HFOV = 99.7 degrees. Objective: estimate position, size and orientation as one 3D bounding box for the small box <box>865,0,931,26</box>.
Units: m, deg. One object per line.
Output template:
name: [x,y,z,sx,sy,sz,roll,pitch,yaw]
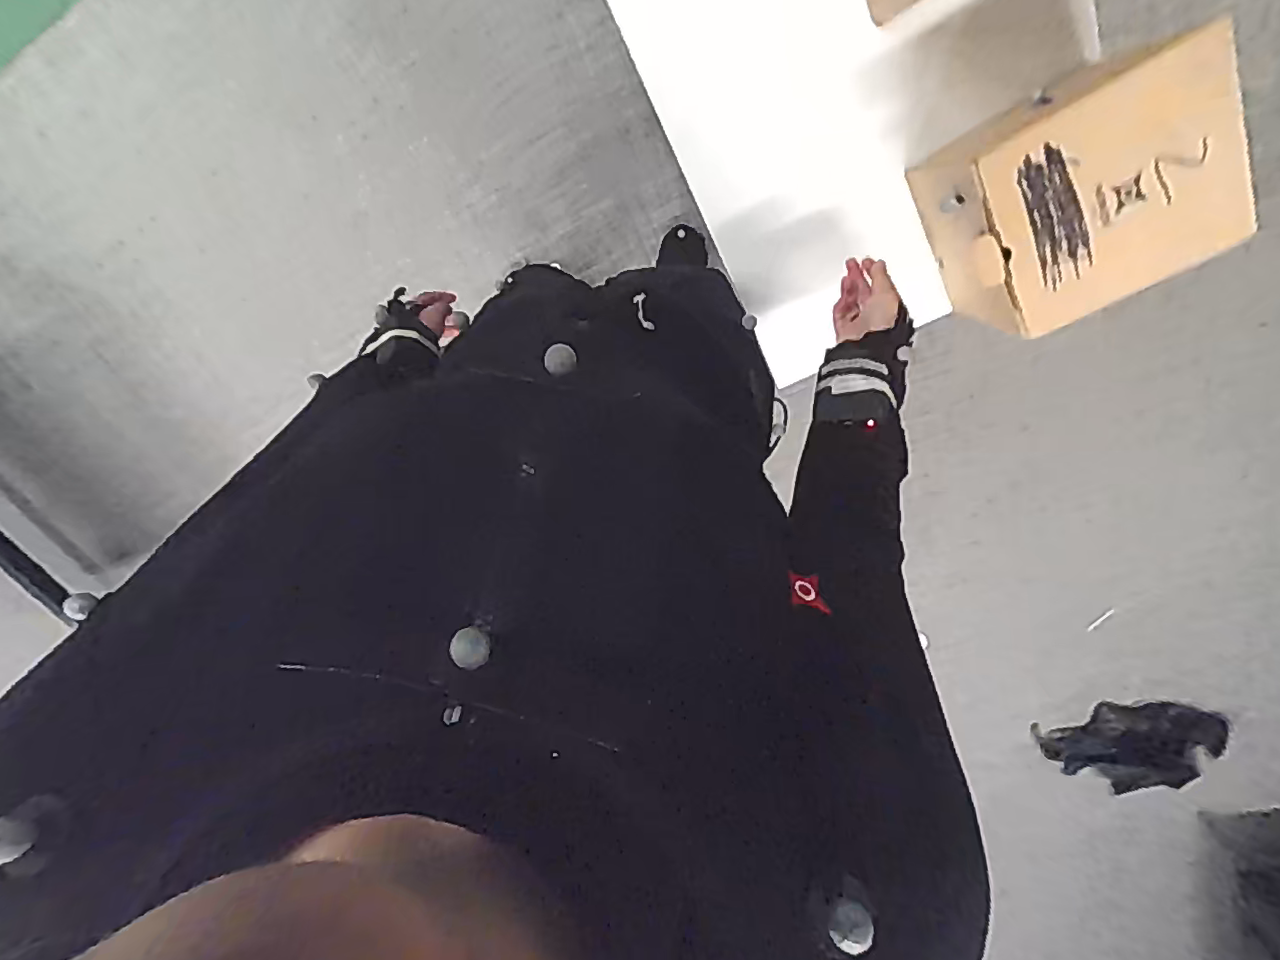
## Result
small box: [0.260,-0.492,0.399,0.179,0.176,0.168,-23,114,19]
